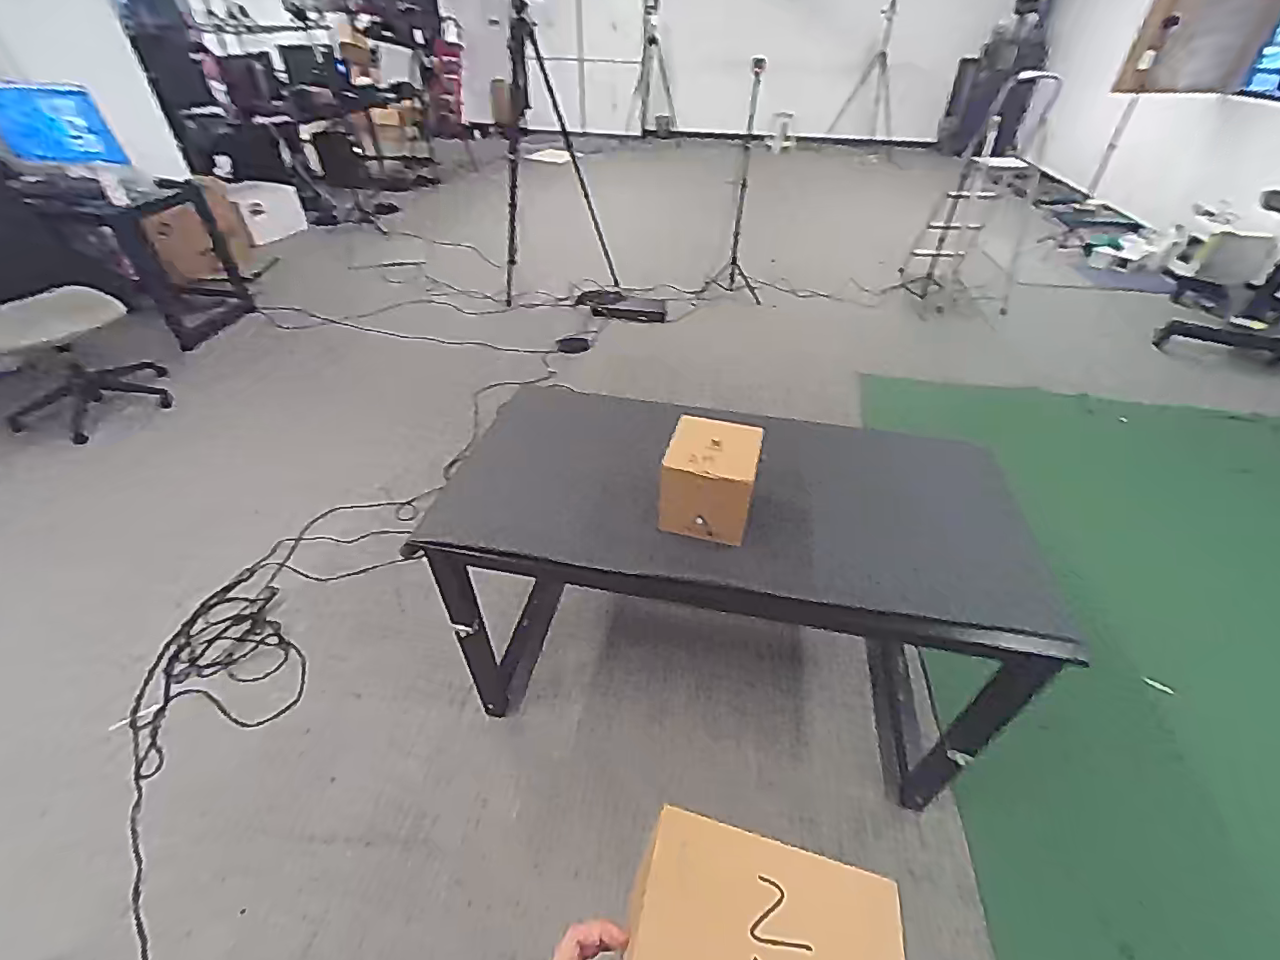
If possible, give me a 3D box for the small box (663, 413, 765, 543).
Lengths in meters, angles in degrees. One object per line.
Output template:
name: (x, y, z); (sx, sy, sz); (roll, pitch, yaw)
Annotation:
small box: (0.143, -0.006, 1.069); (0.168, 0.176, 0.179); (11, 41, 12)
